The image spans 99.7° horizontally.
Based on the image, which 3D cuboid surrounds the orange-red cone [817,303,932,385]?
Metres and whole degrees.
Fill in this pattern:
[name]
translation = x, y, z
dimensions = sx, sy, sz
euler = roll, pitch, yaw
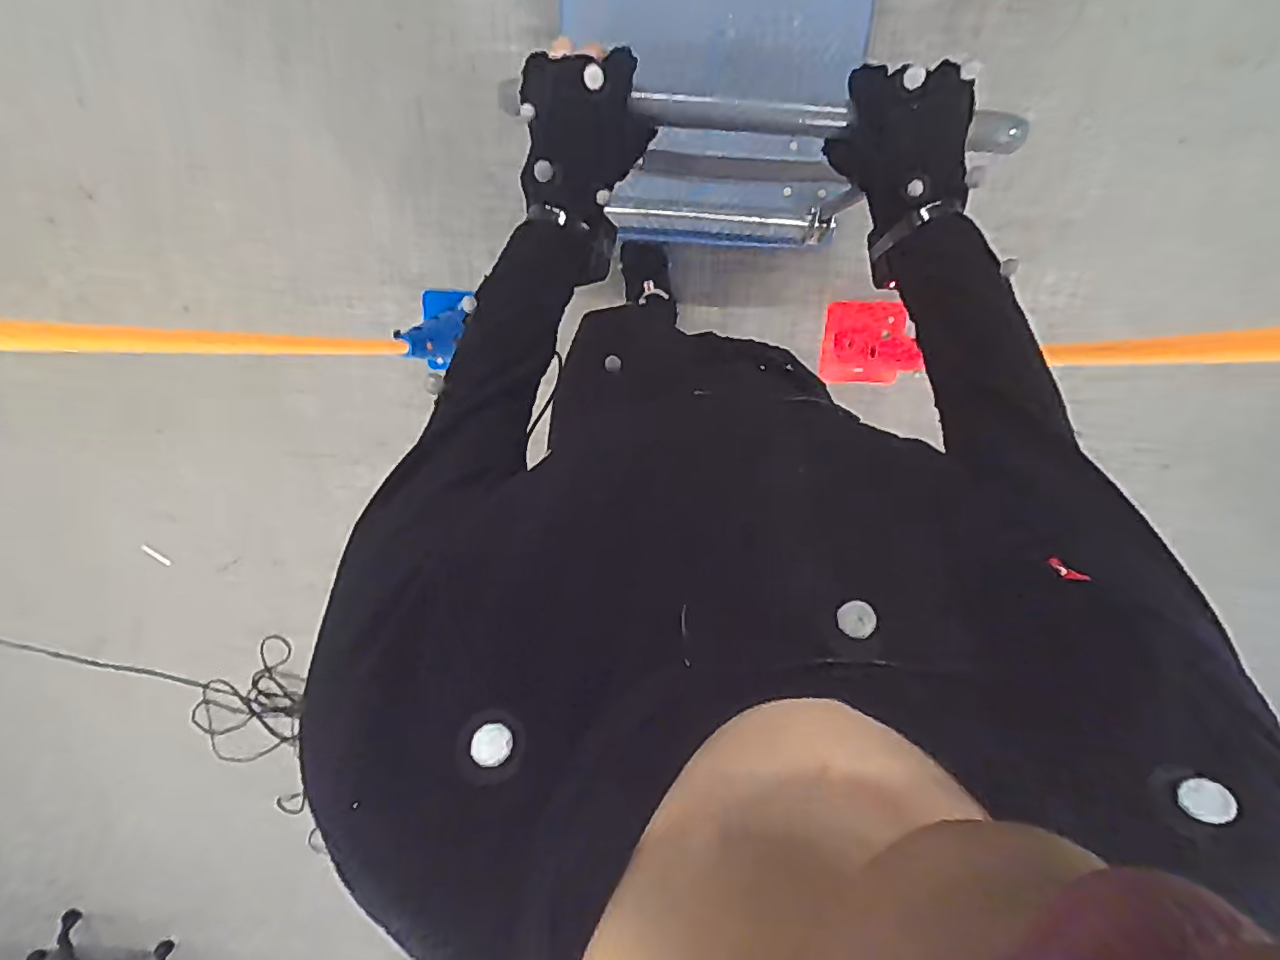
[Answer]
[orange-red cone]
translation = 0.551, -0.289, 1.209
dimensions = 0.199, 0.360, 0.198
euler = 3, 109, 2
